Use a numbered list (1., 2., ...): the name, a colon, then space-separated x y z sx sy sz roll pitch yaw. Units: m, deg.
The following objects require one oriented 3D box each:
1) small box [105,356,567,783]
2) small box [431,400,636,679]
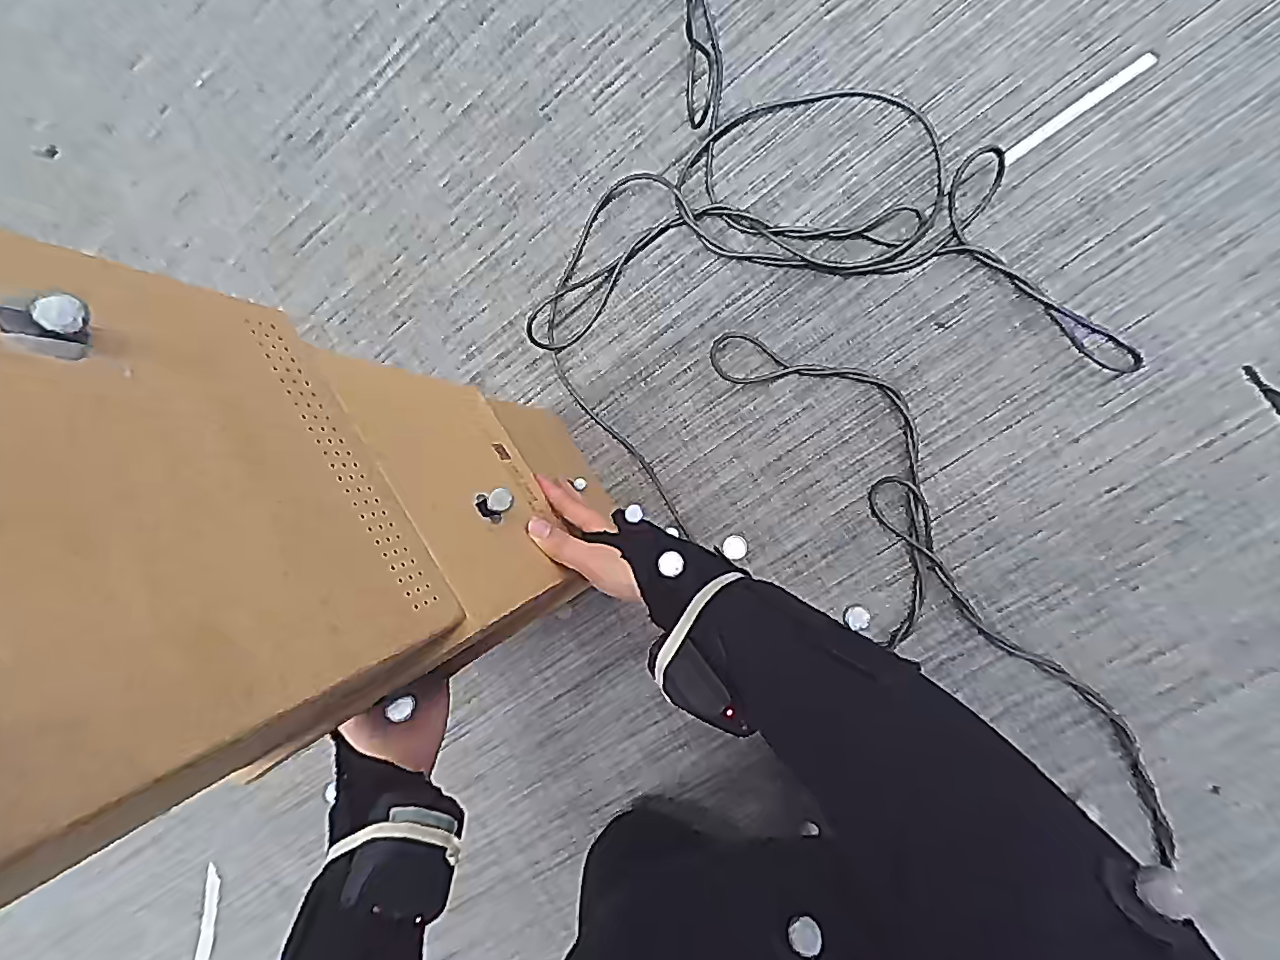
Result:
1. small box: -0.168 0.045 0.356 0.179 0.176 0.168 -35 85 13
2. small box: -0.128 0.047 0.514 0.168 0.176 0.179 -34 86 13
